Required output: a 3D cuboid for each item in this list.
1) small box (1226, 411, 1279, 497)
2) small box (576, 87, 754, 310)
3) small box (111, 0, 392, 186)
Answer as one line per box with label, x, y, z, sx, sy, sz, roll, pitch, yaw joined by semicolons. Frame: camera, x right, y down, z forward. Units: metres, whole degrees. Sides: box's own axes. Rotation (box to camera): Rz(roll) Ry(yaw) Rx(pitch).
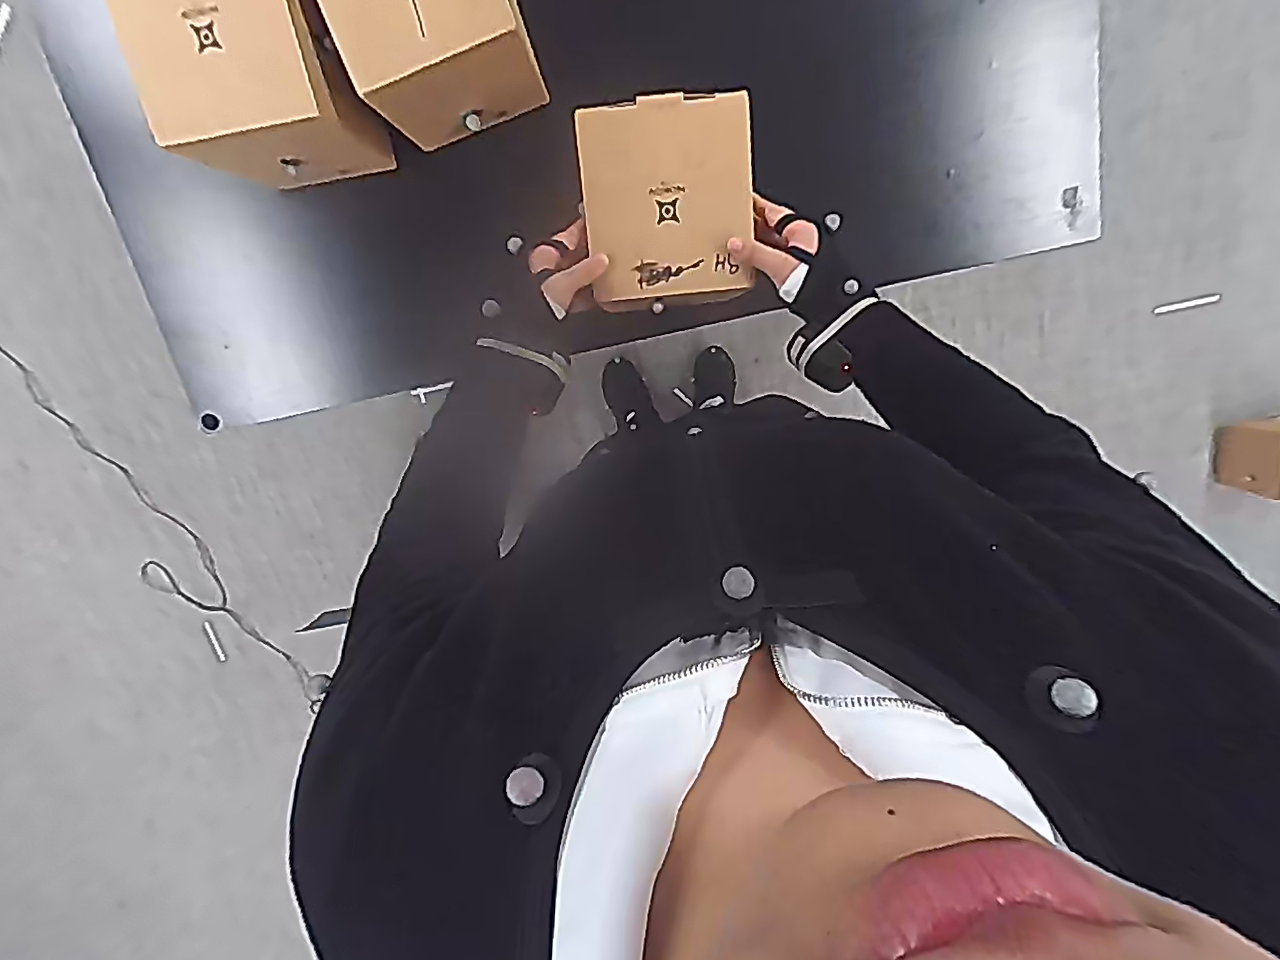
small box;1.651;-0.069;1.368;0.168;0.176;0.179;-13;103;4
small box;0.029;-0.293;0.602;0.168;0.176;0.179;-5;103;4
small box;-0.394;-0.433;0.577;0.168;0.176;0.179;-9;104;3
